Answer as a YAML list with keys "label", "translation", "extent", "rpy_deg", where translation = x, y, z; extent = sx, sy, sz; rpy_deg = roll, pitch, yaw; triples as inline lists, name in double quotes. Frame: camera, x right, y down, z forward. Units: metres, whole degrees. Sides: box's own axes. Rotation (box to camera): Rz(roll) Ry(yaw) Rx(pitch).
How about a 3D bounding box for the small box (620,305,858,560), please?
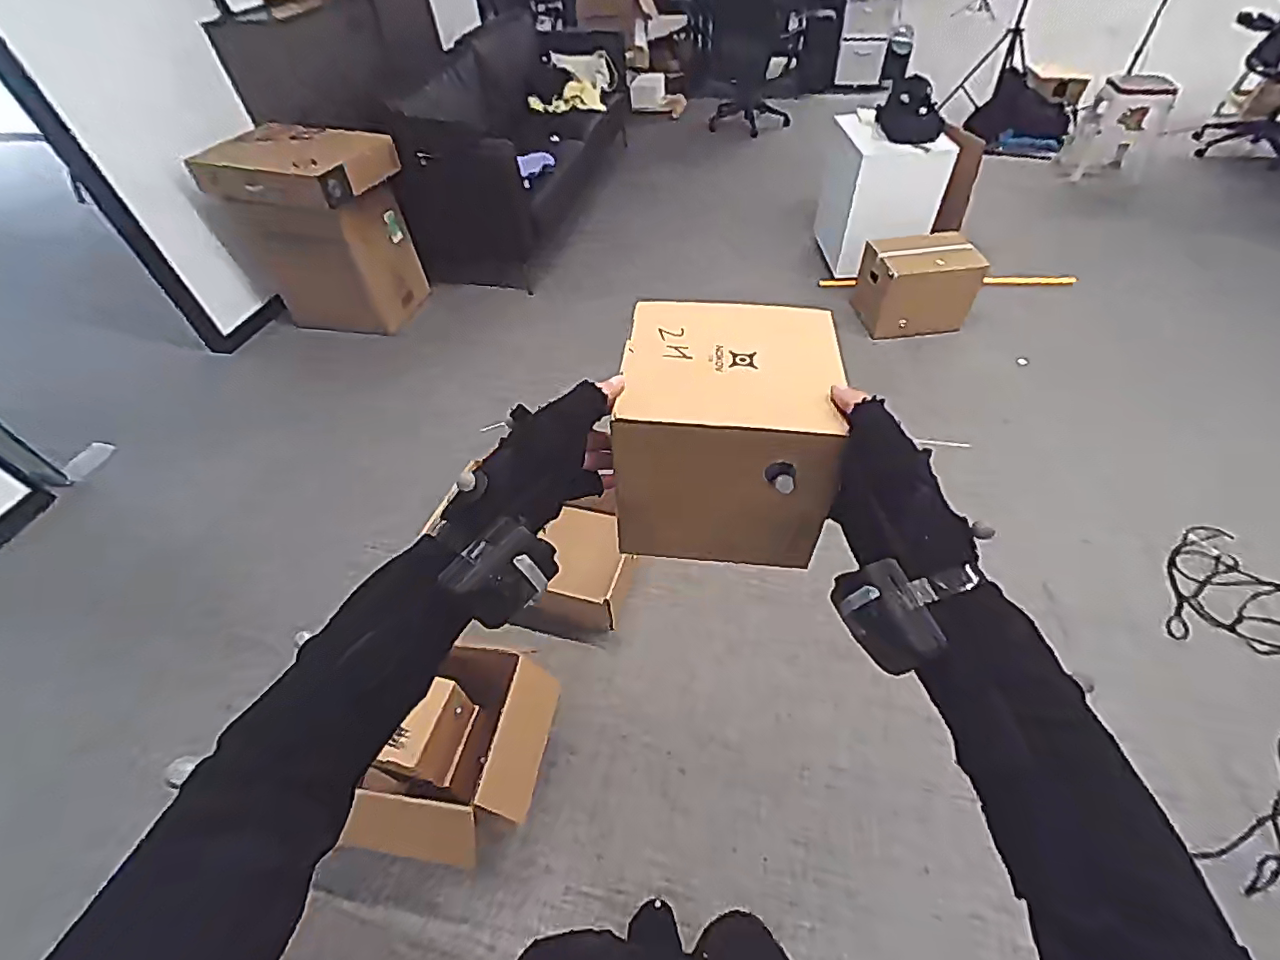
- label: "small box"
  translation: [0.080, -0.041, 0.505]
  extent: [0.179, 0.176, 0.168]
  rpy_deg: [4, 47, 5]
